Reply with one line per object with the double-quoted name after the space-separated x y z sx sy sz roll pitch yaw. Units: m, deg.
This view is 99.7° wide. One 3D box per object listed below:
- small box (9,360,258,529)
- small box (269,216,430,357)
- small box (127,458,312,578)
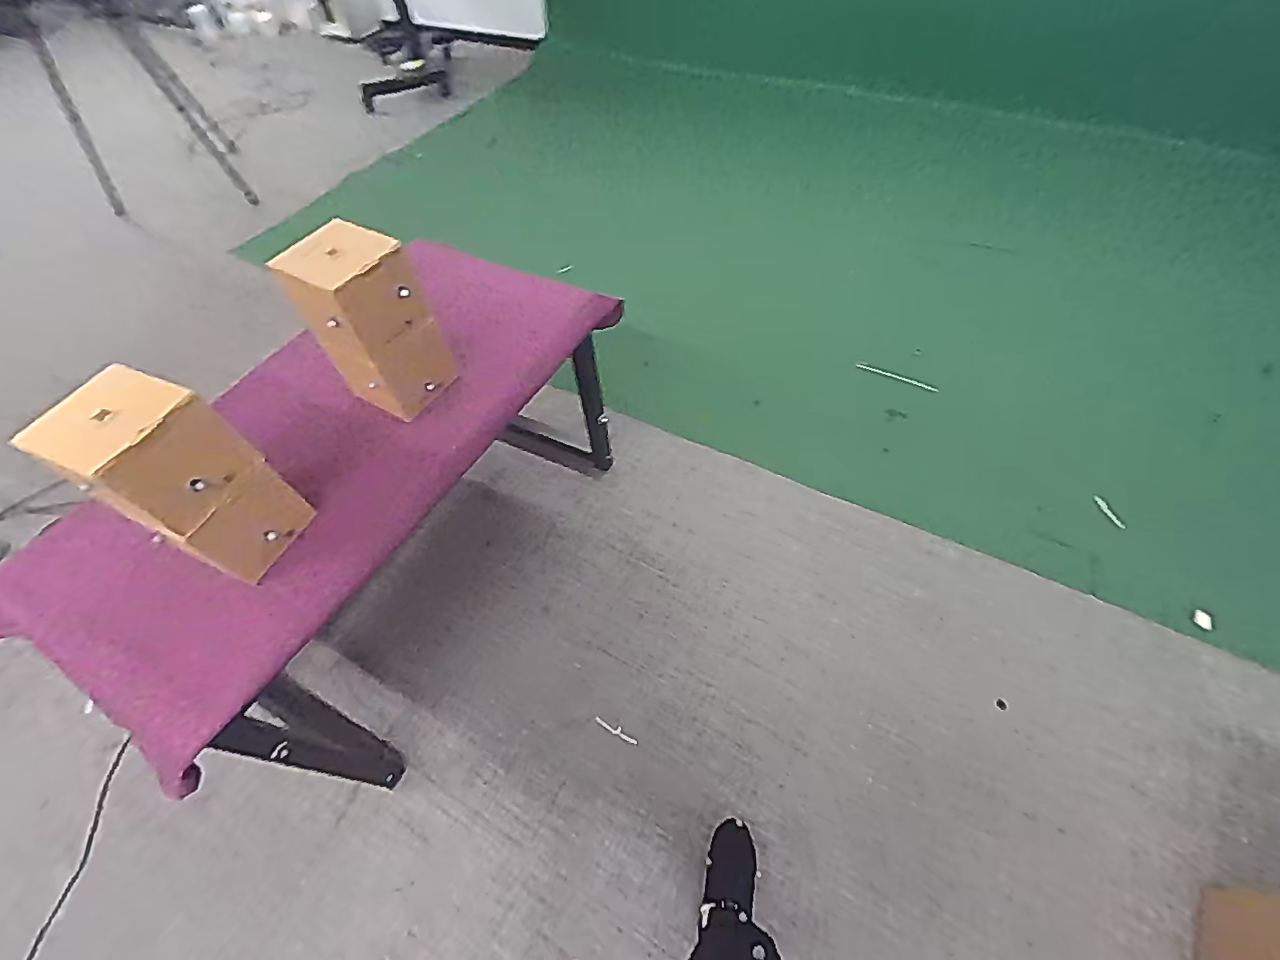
-0.744 -0.049 0.817 0.179 0.176 0.168 18 57 14 "small box"
-0.533 -0.359 1.021 0.179 0.176 0.168 26 60 19 "small box"
-0.734 0.048 0.947 0.179 0.176 0.168 20 59 16 "small box"
